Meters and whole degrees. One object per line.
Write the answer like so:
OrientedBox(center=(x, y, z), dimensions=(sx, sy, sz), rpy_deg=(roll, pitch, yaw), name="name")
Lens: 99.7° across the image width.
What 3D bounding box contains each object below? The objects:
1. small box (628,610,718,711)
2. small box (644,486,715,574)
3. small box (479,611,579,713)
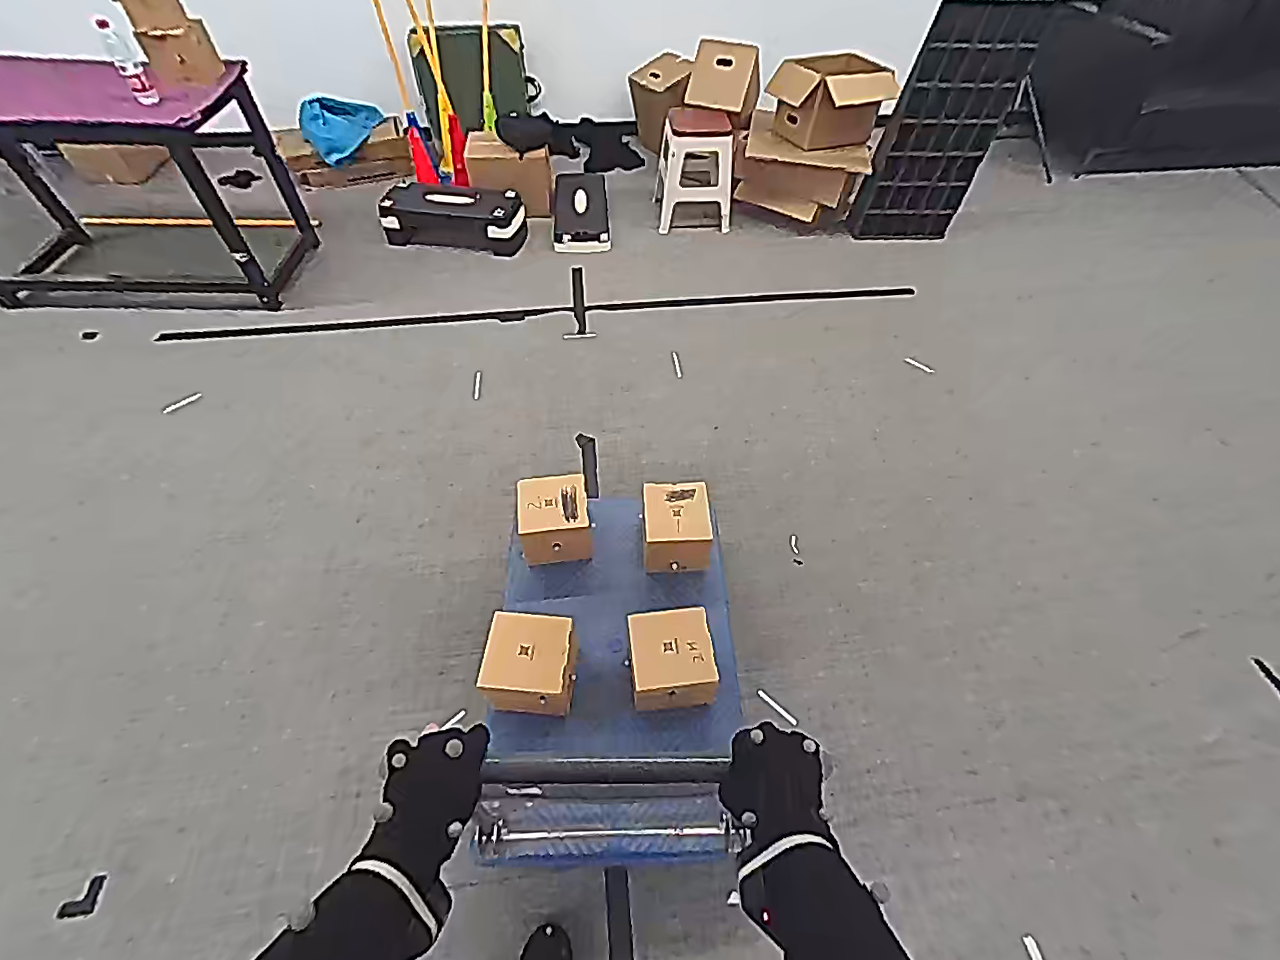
OrientedBox(center=(0.068, 0.409, 1.218), dimensions=(0.179, 0.176, 0.168), rpy_deg=(-4, 53, -4), name="small box")
OrientedBox(center=(0.098, 0.132, 1.428), dimensions=(0.168, 0.176, 0.179), rpy_deg=(-1, 54, -2), name="small box")
OrientedBox(center=(-0.239, 0.411, 1.210), dimensions=(0.179, 0.176, 0.168), rpy_deg=(6, 52, 1), name="small box")
